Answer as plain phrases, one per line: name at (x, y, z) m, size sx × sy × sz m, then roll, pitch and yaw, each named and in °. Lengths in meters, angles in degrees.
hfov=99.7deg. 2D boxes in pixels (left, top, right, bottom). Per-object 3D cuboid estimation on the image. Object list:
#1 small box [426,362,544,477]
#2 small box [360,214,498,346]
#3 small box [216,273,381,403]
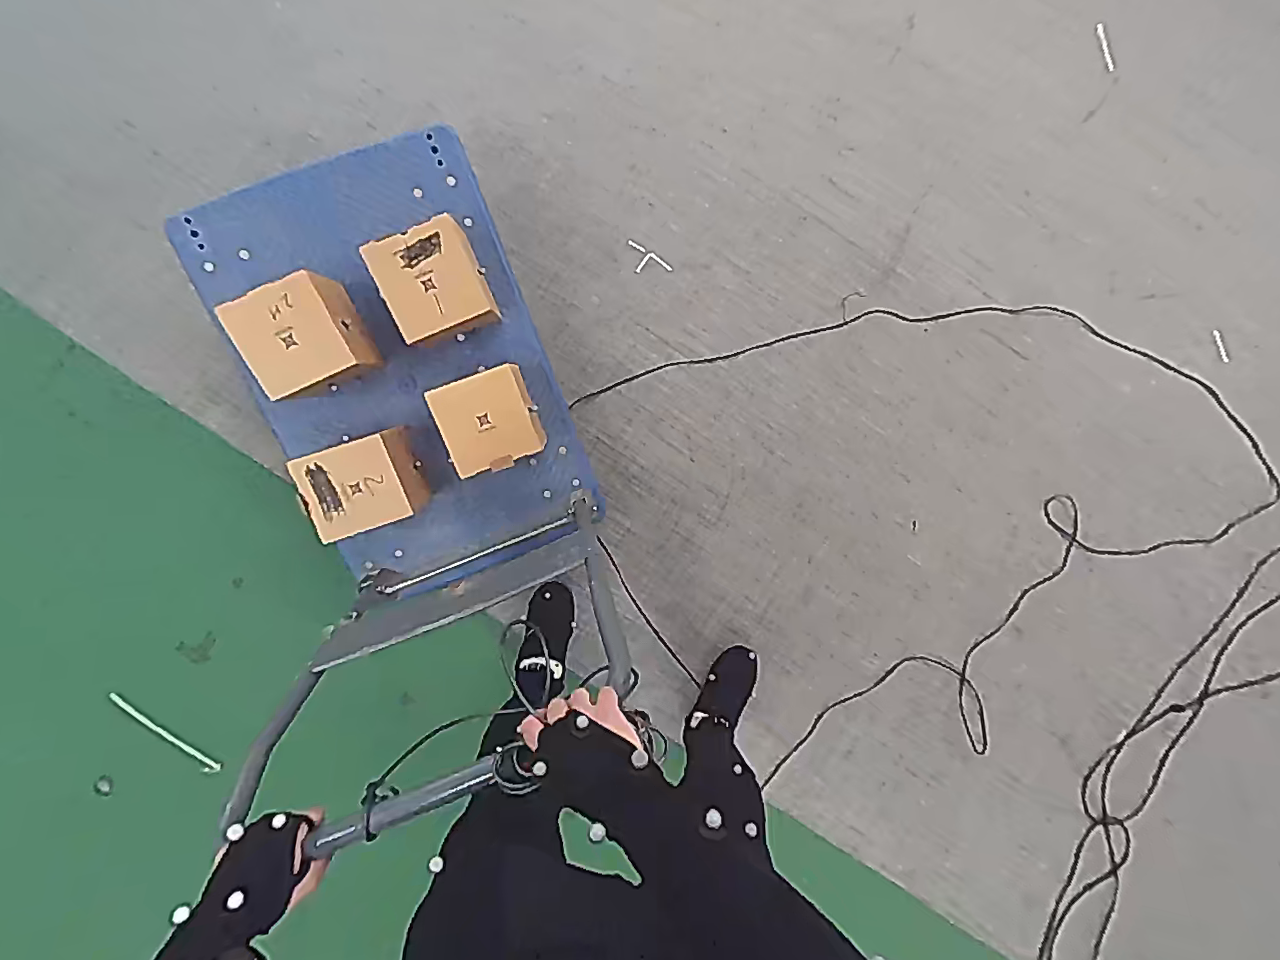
small box at (-0.300, -0.126, 1.086) m, size 0.168 × 0.176 × 0.179 m, roll -21°, pitch 104°, yaw -3°
small box at (-0.386, -0.366, 1.024) m, size 0.168 × 0.176 × 0.179 m, roll -24°, pitch 104°, yaw -2°
small box at (-0.620, -0.260, 1.012) m, size 0.168 × 0.176 × 0.179 m, roll -26°, pitch 103°, yaw -3°
